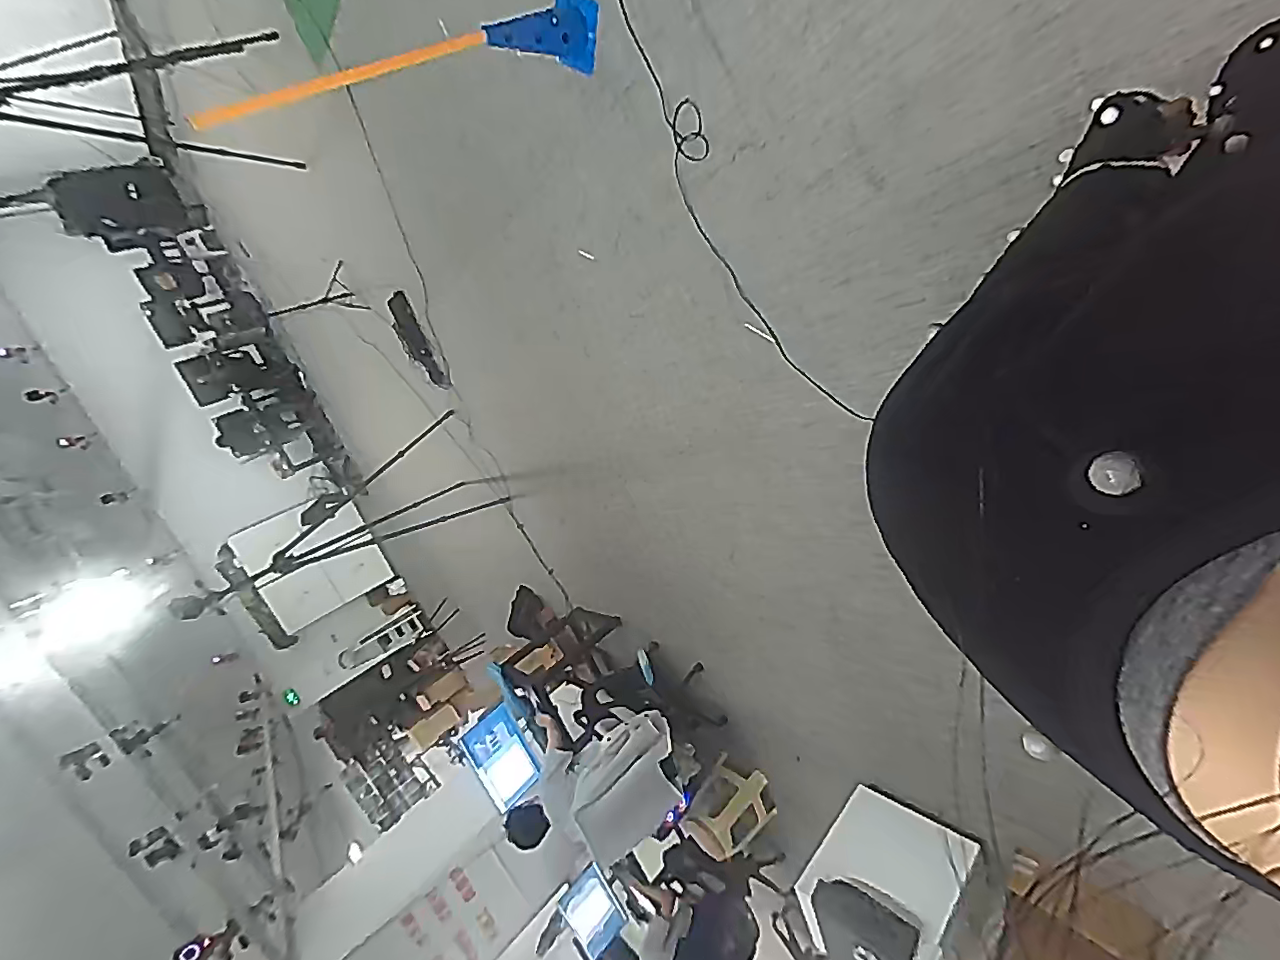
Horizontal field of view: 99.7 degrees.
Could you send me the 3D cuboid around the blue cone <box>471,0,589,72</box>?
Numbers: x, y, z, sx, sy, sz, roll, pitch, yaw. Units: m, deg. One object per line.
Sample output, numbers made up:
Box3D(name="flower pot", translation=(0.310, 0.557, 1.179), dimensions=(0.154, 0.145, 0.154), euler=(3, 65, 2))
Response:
Box3D(name="blue cone", translation=(-0.347, -1.381, 1.672), dimensions=(0.192, 0.380, 0.193), euler=(39, 144, 23))
